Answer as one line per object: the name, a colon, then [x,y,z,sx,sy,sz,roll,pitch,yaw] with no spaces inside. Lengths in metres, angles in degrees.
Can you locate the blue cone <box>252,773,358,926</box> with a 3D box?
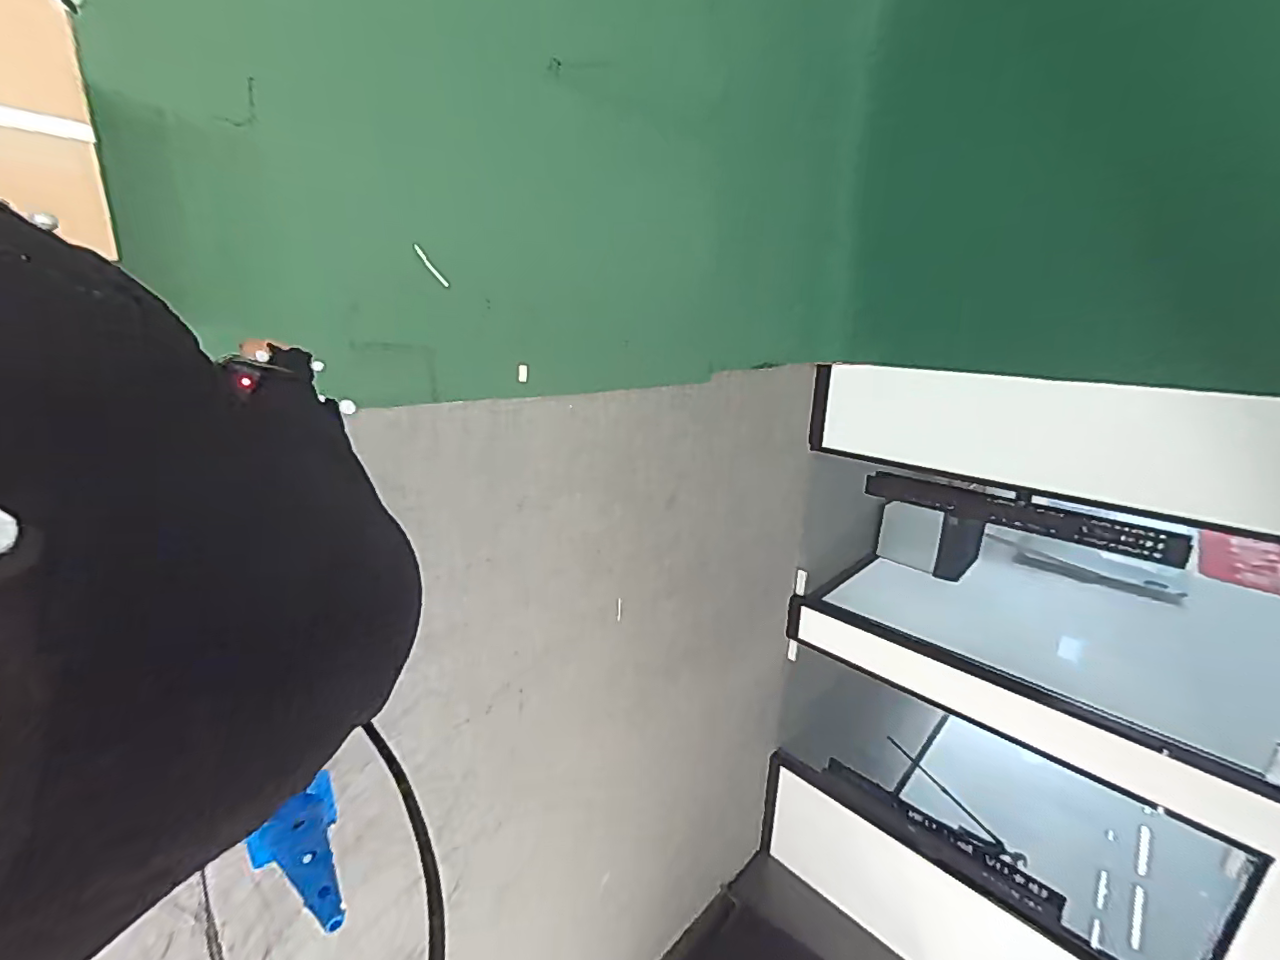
blue cone: [-0.767,0.910,1.287,0.192,0.380,0.193,-13,113,-43]
